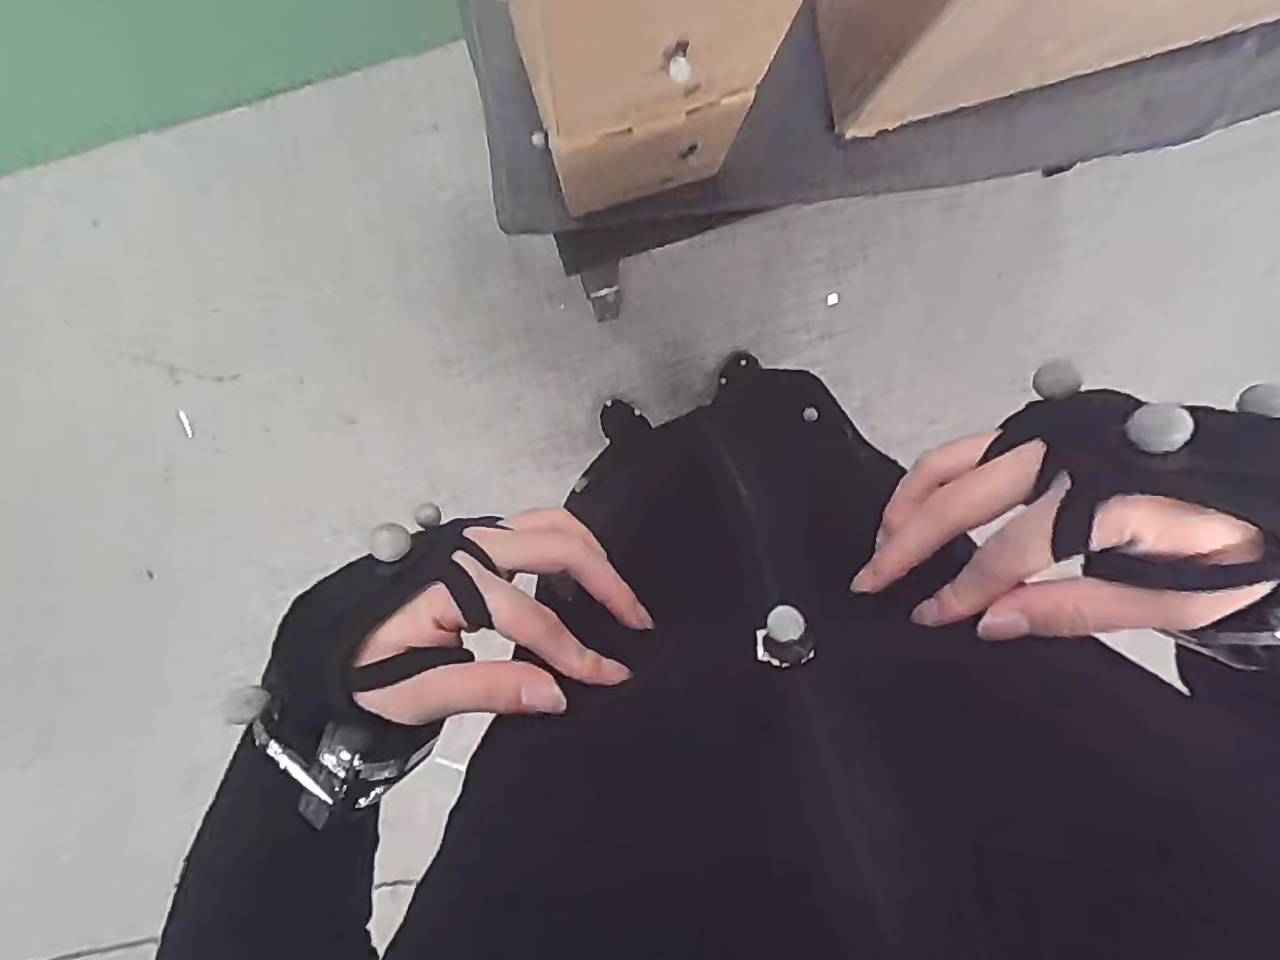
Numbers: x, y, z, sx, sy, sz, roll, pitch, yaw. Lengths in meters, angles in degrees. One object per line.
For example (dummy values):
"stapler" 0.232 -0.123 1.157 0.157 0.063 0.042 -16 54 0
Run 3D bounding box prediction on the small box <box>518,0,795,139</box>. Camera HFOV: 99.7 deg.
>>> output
"small box" 0.000 -0.350 0.343 0.168 0.176 0.179 -17 100 -2

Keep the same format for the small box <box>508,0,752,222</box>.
"small box" -0.014 -0.365 0.505 0.168 0.176 0.179 -18 98 -2
